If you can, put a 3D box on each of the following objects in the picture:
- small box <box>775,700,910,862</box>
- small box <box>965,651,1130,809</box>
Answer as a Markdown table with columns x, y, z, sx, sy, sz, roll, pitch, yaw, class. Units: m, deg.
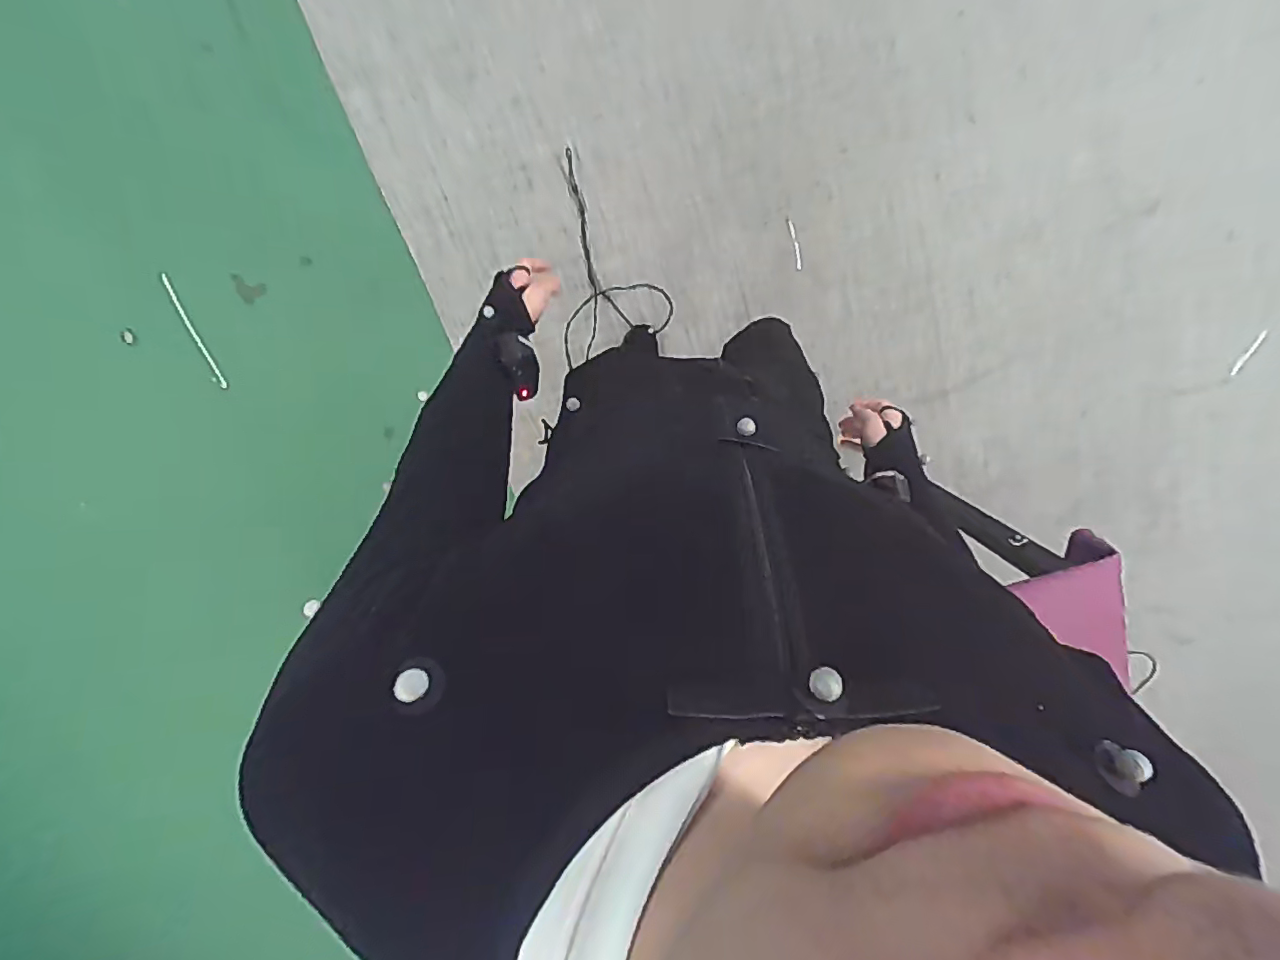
| x | y | z | sx | sy | sz | roll | pitch | yaw | class |
| --- | --- | --- | --- | --- | --- | --- | --- | --- | --- |
| 0.360 | 0.539 | 0.982 | 0.168 | 0.176 | 0.179 | -17 | 108 | 3 | small box |
| 0.704 | 0.426 | 0.951 | 0.168 | 0.176 | 0.179 | -19 | 109 | 5 | small box |
